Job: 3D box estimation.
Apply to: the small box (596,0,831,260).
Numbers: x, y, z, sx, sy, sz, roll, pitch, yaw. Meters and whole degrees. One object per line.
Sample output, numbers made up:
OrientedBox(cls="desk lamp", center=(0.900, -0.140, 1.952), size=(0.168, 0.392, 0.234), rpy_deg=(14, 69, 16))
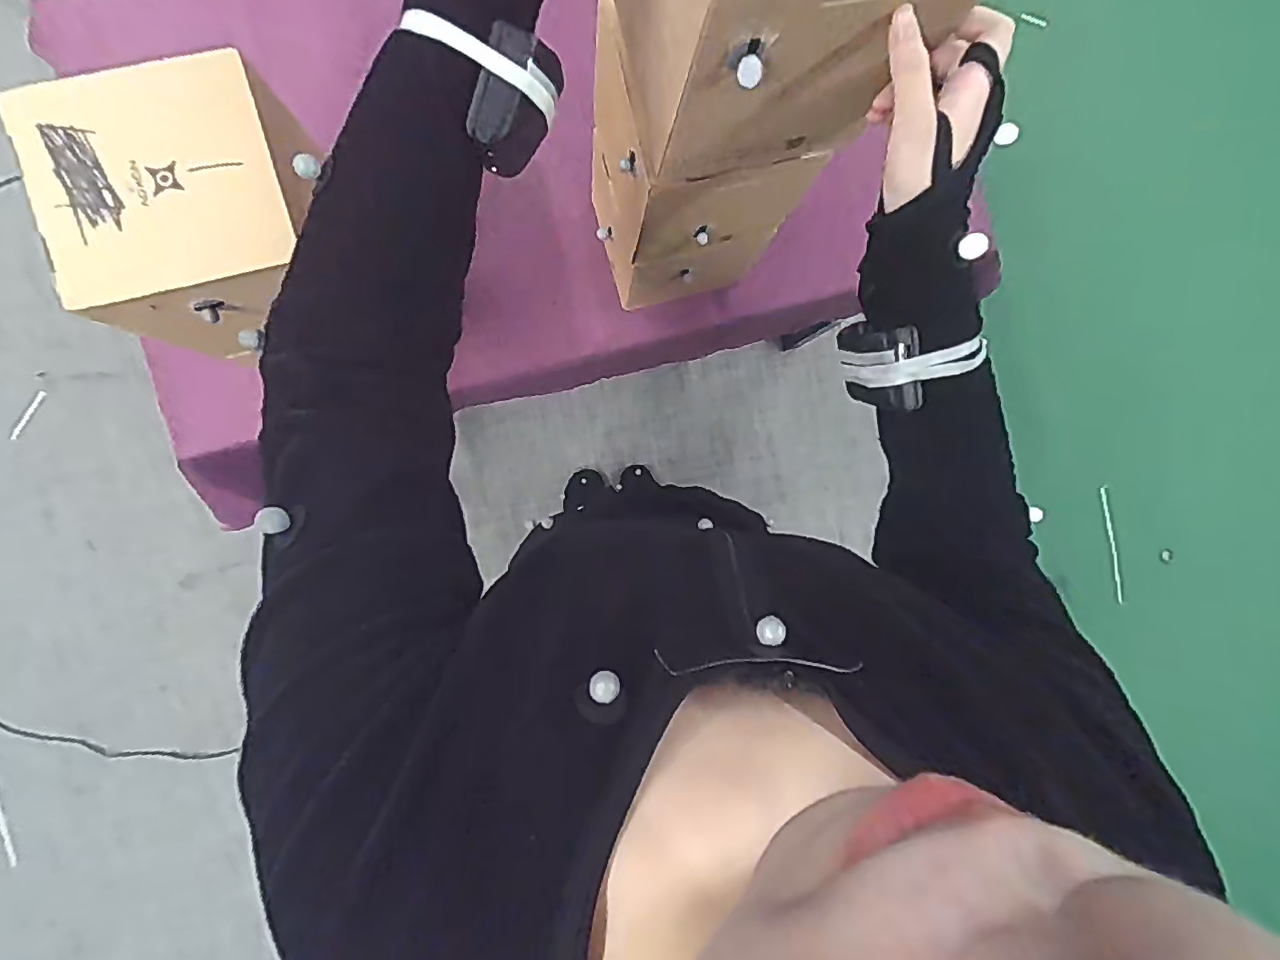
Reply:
OrientedBox(cls="small box", center=(0.056, -0.344, 0.527), size=(0.168, 0.176, 0.179), rpy_deg=(-15, 93, -5))

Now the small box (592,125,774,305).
OrientedBox(cls="small box", center=(0.045, -0.342, 0.690), size=(0.179, 0.176, 0.168), rpy_deg=(-16, 93, -4))

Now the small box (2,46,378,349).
OrientedBox(cls="small box", center=(-0.372, -0.229, 0.486), size=(0.179, 0.176, 0.168), rpy_deg=(-16, 93, -5))
